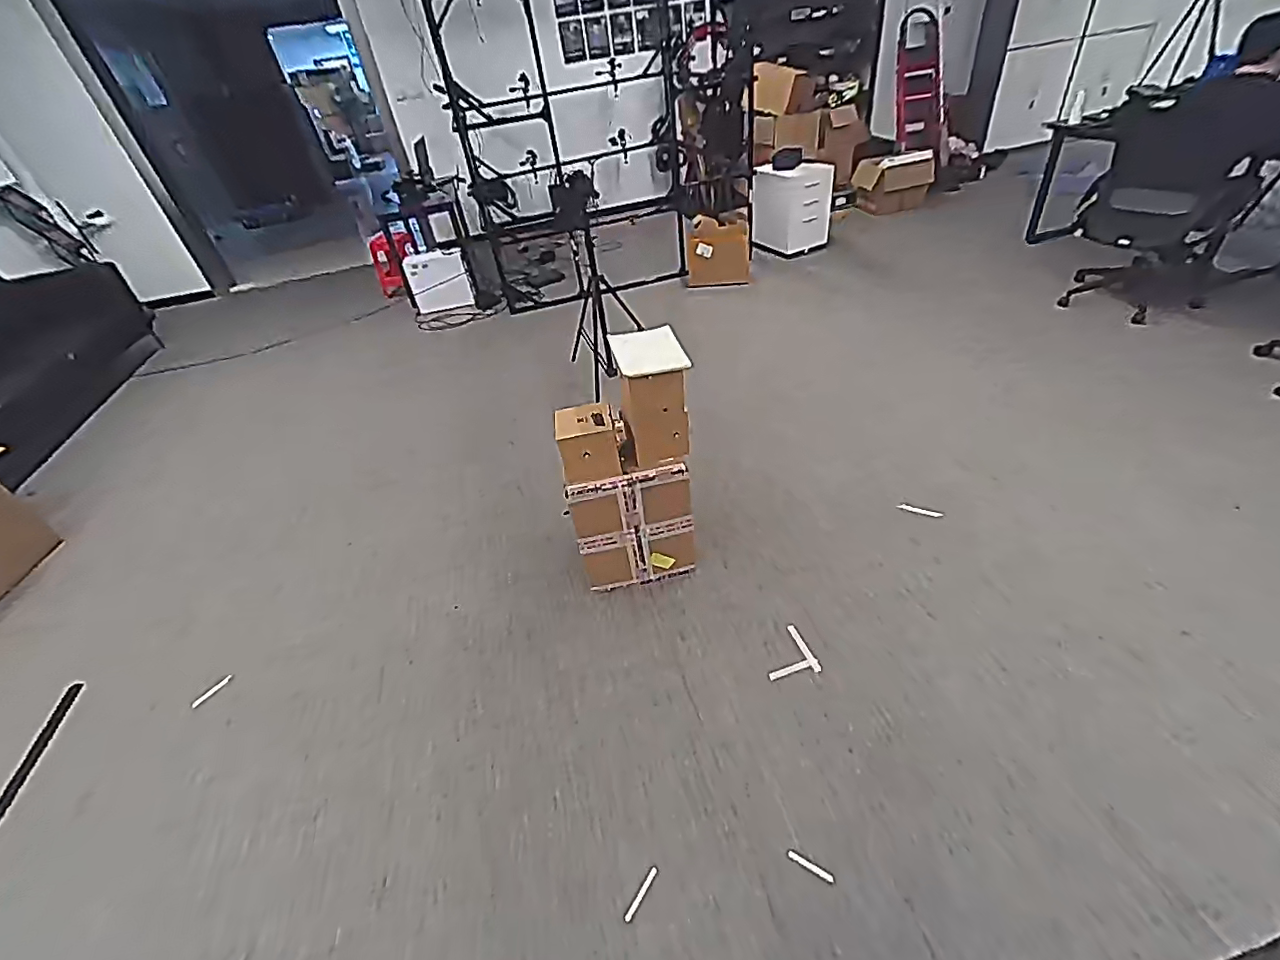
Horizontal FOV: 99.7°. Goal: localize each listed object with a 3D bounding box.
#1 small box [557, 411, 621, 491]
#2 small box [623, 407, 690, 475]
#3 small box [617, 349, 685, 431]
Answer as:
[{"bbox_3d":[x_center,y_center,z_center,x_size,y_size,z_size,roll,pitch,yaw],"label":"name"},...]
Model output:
[{"bbox_3d":[-0.156,-0.089,1.701,0.179,0.176,0.168,-11,41,0],"label":"small box"},{"bbox_3d":[0.053,-0.142,1.727,0.179,0.176,0.168,-14,40,-9],"label":"small box"},{"bbox_3d":[0.034,-0.270,1.629,0.168,0.176,0.179,-13,40,-8],"label":"small box"}]
